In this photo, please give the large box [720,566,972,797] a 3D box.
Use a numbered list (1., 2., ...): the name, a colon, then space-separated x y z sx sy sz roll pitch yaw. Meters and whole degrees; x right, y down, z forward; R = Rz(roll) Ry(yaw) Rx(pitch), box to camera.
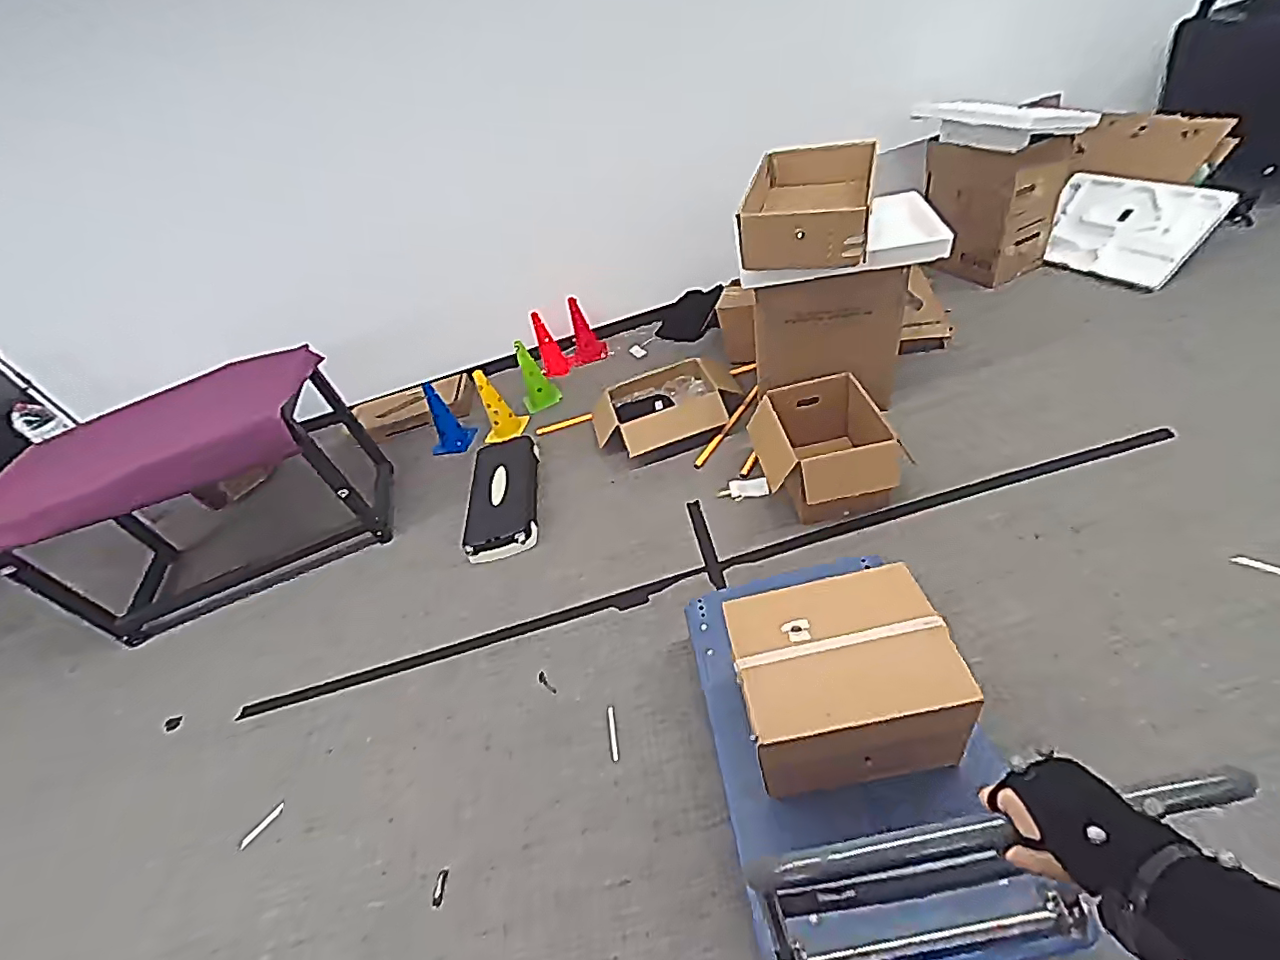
1. large box: 0.424 0.443 1.183 0.408 0.320 0.320 -15 41 5
